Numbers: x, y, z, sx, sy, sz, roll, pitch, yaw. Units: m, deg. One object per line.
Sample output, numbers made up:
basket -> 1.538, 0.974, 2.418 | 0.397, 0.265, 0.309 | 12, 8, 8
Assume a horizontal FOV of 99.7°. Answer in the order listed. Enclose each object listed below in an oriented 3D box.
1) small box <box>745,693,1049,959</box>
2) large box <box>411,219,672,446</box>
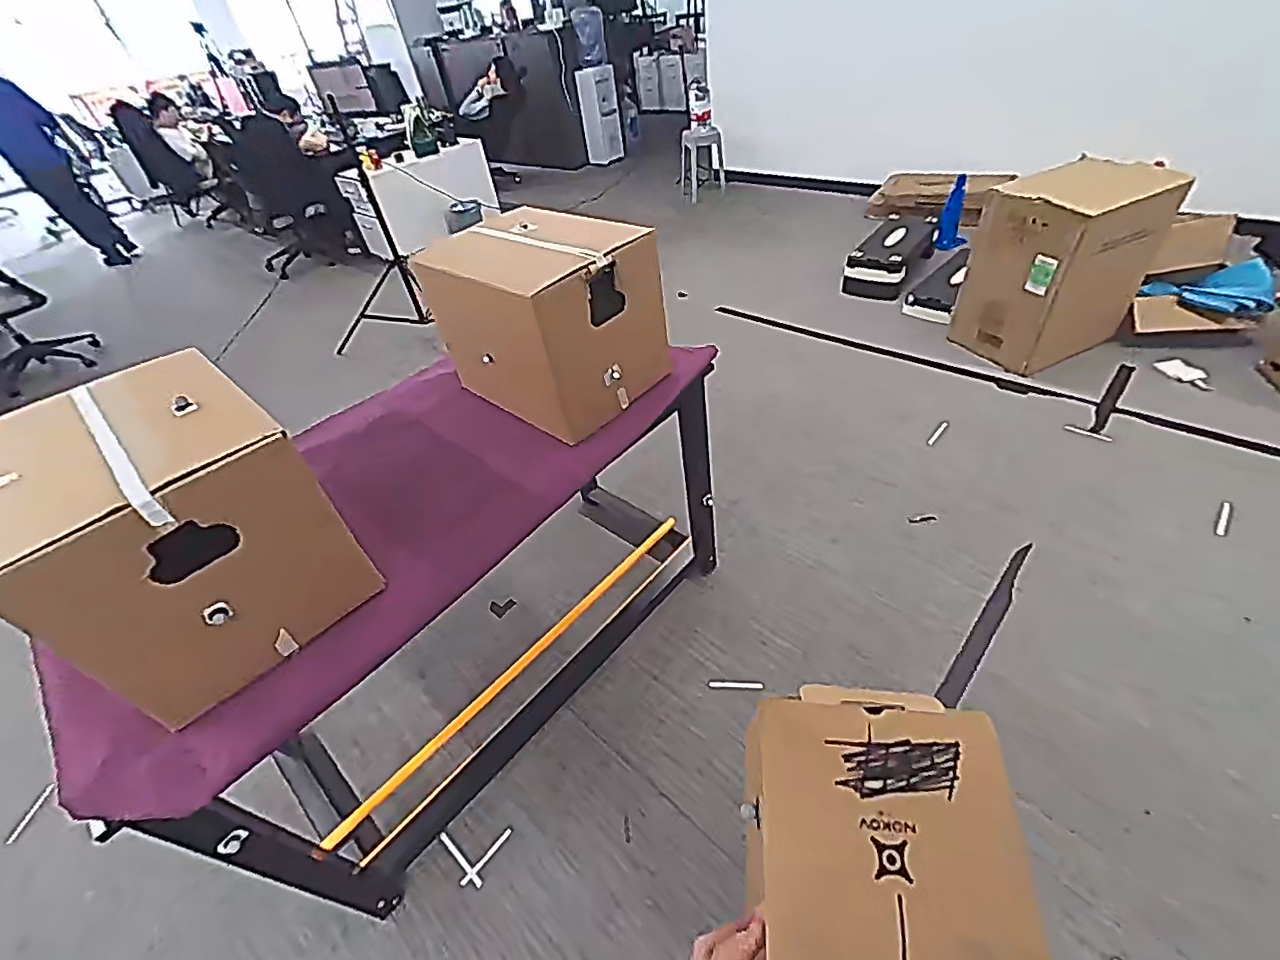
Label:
small box -> 0.170, 0.283, 0.419 | 0.168, 0.176, 0.179 | 2, 55, 8
large box -> -0.191, -0.324, 1.141 | 0.408, 0.320, 0.320 | 26, 53, 35
